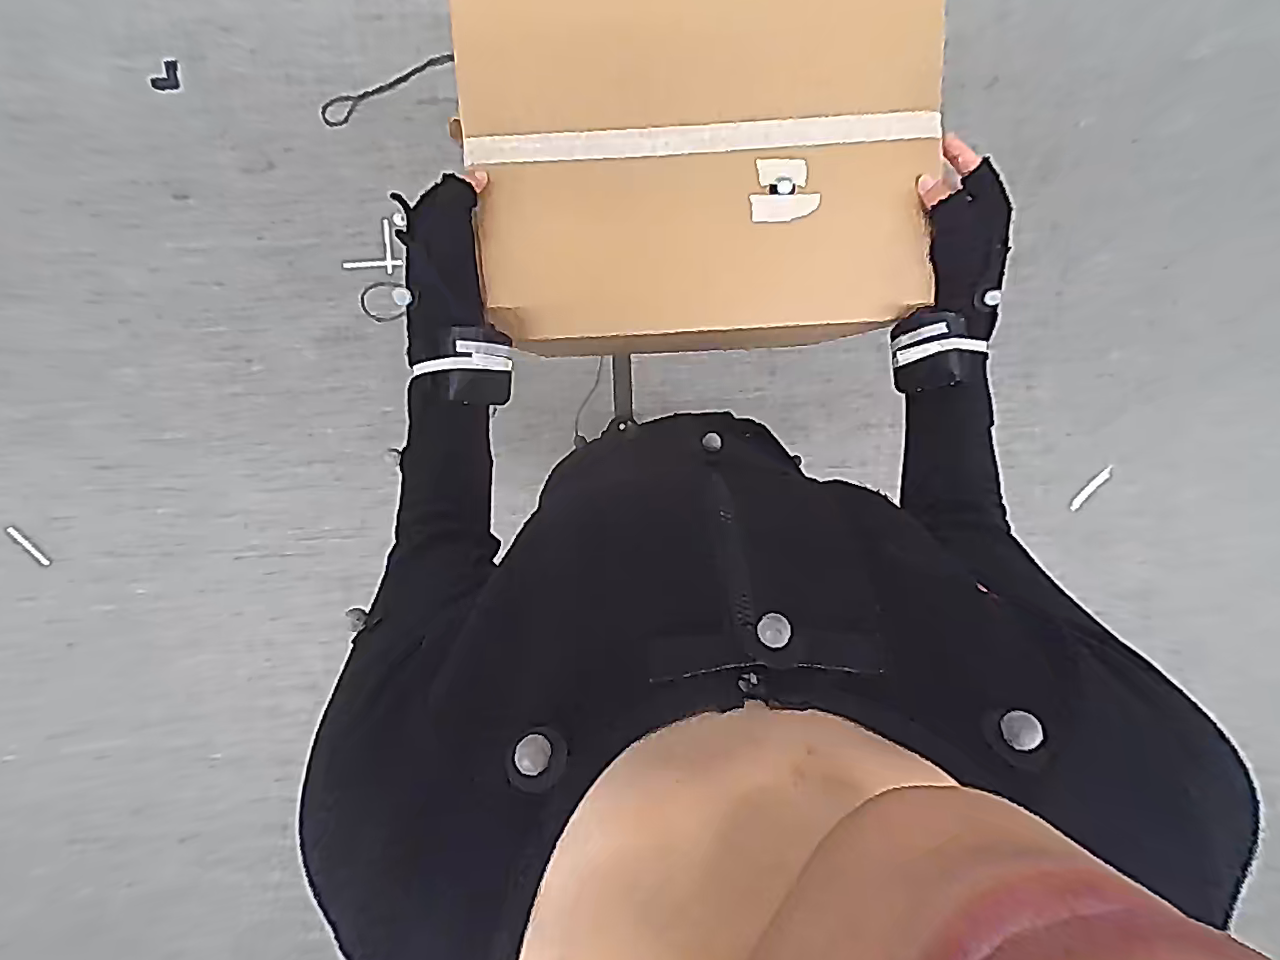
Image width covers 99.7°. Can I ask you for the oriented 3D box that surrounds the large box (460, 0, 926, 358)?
[{"bbox_3d":[0.049,-0.320,0.625,0.408,0.320,0.320,-4,100,-1],"label":"large box"}]
